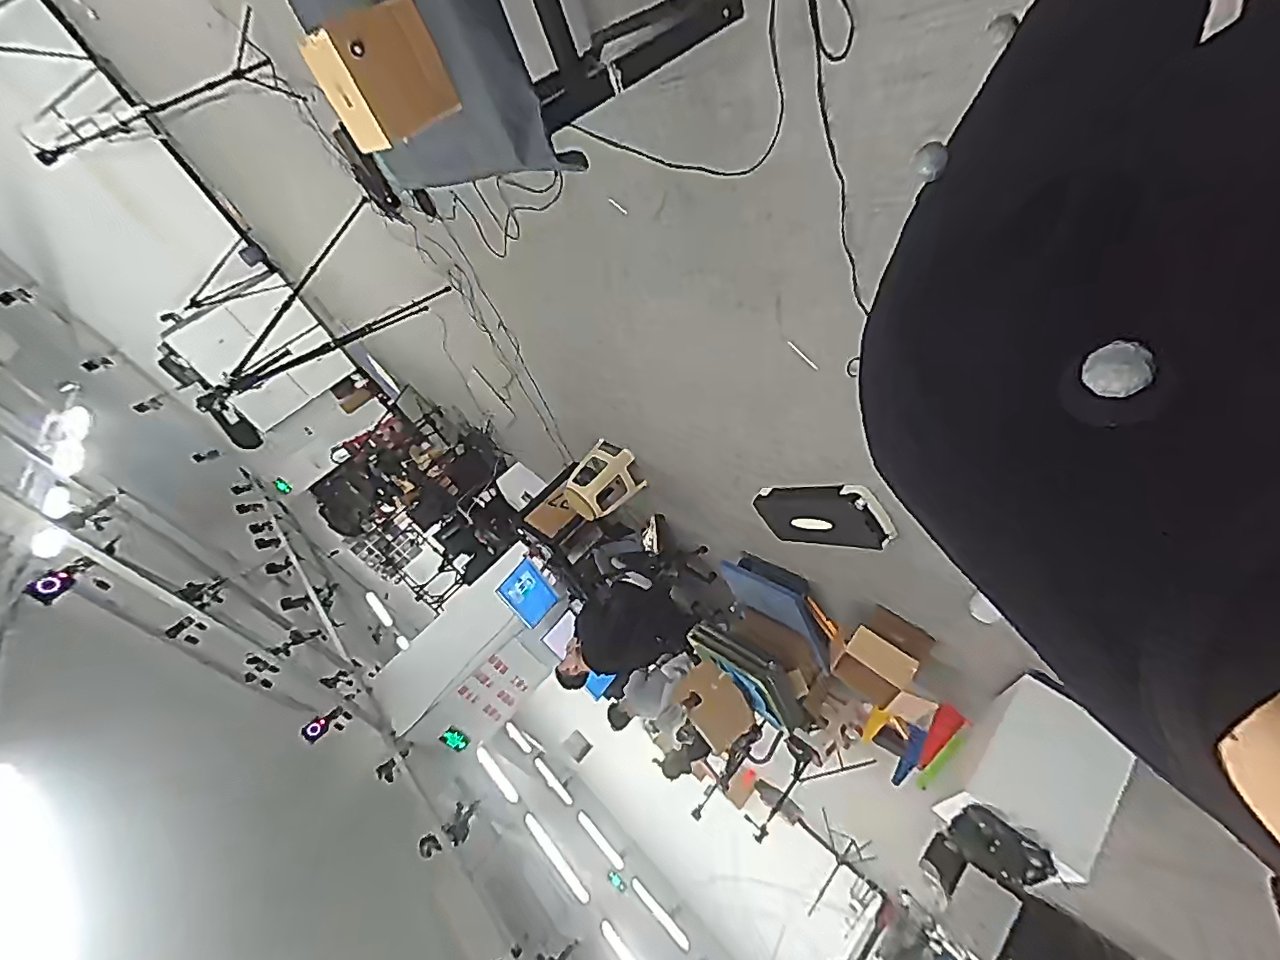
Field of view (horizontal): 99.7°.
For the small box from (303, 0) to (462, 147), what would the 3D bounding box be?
[{"bbox_3d":[-0.459,-0.740,0.983,0.168,0.176,0.179,27,153,42],"label":"small box"}]
